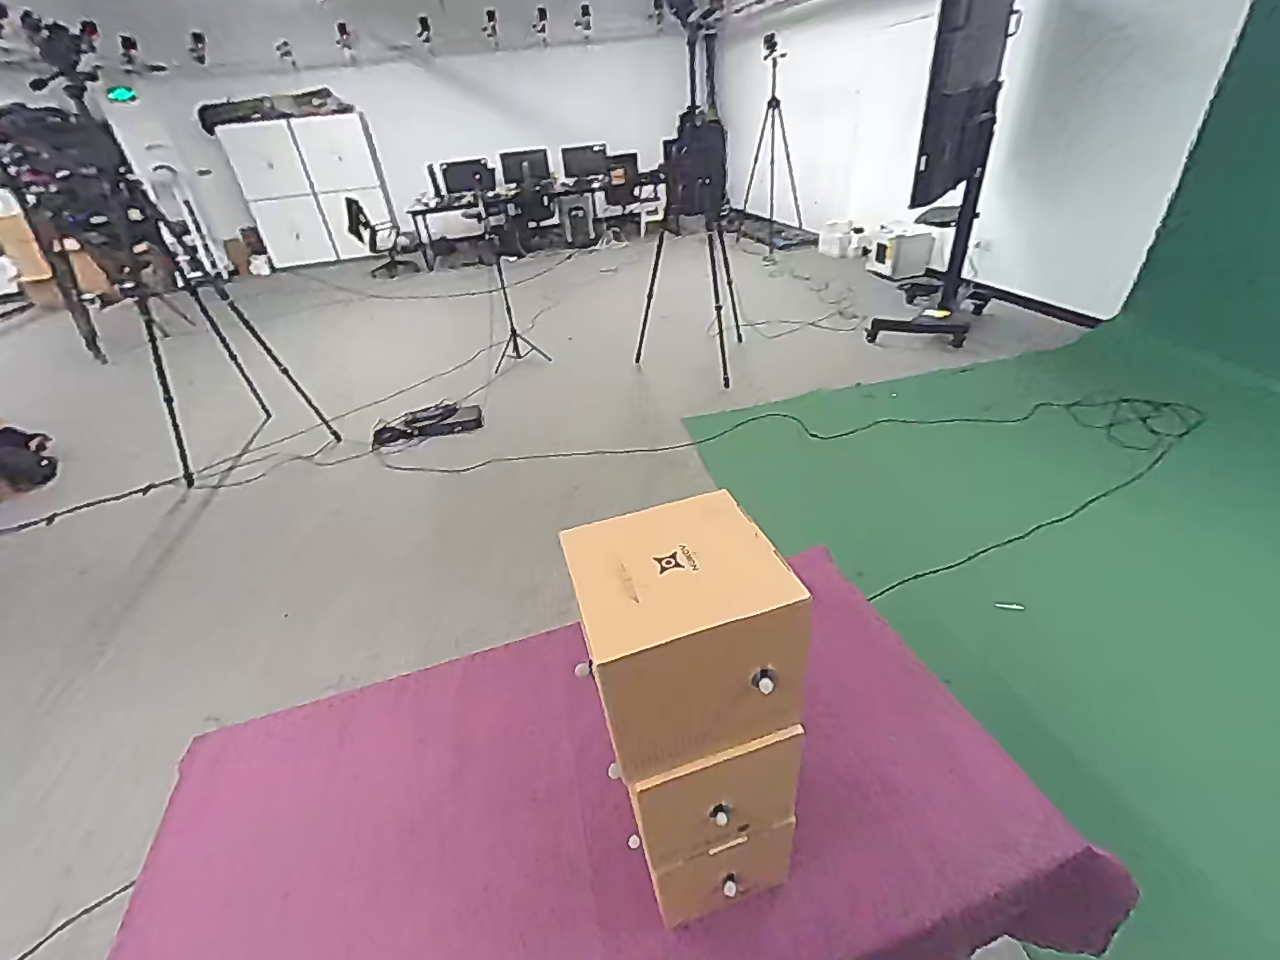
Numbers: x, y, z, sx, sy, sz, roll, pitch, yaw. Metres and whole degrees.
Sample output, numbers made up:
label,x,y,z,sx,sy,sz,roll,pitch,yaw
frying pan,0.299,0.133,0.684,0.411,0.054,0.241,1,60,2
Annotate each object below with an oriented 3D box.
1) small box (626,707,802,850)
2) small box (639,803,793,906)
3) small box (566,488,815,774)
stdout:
label,x,y,z,sx,sy,sz,roll,pitch,yaw
small box,0.060,0.272,0.598,0.168,0.176,0.179,-13,35,-11
small box,0.078,0.406,0.693,0.168,0.176,0.179,-13,36,-10
small box,0.040,0.136,0.509,0.179,0.176,0.168,-14,34,-10
